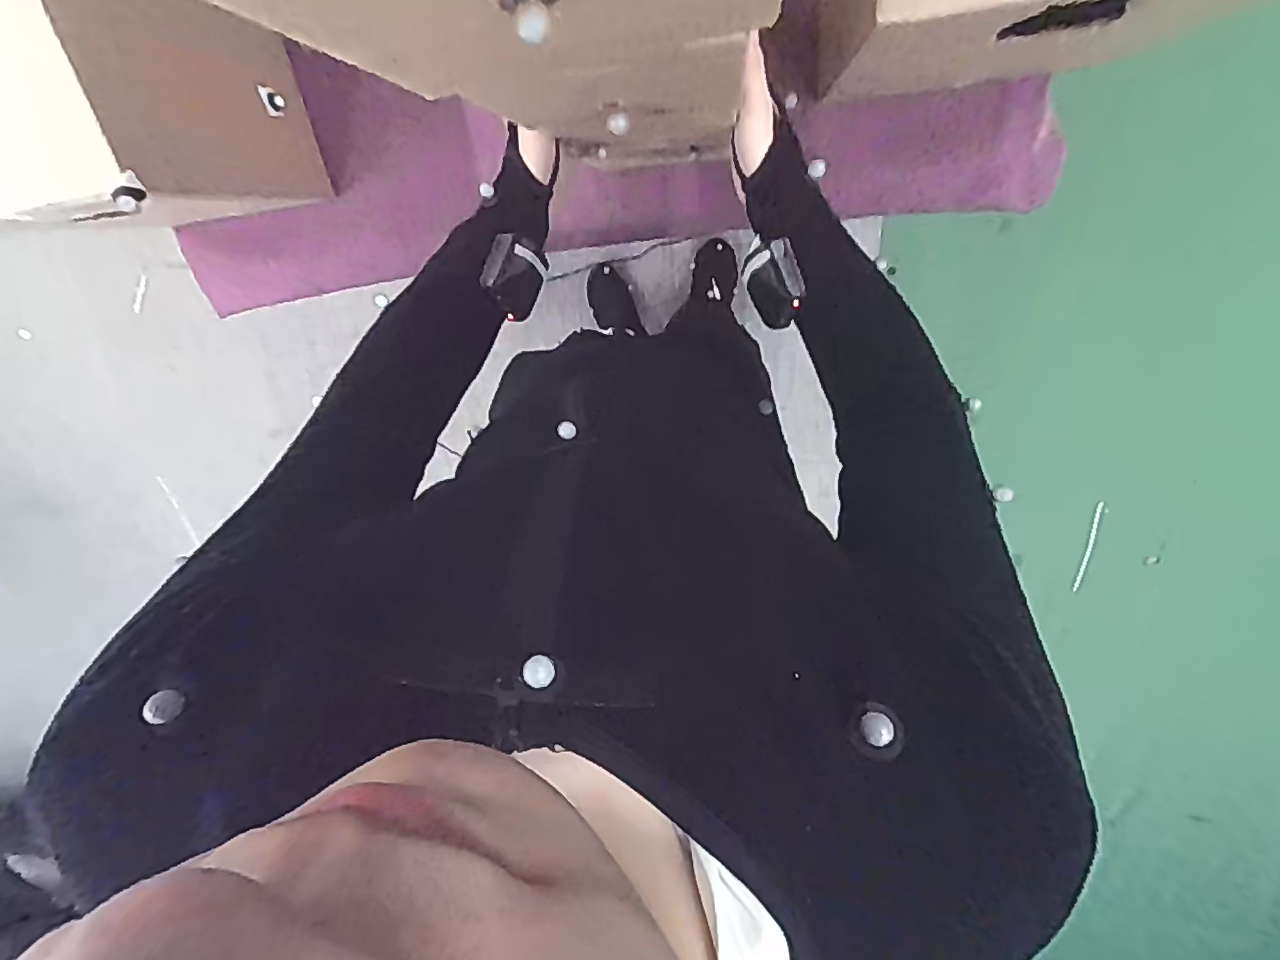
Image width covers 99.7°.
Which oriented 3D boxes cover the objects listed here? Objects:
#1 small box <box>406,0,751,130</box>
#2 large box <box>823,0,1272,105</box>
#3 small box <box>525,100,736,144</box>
[{"bbox_3d":[-0.024,-0.315,0.298,0.168,0.176,0.179,0,115,9],"label":"small box"},{"bbox_3d":[0.323,-0.566,0.409,0.320,0.320,0.408,-1,116,11],"label":"large box"},{"bbox_3d":[-0.001,-0.386,0.444,0.168,0.176,0.179,1,115,8],"label":"small box"}]
